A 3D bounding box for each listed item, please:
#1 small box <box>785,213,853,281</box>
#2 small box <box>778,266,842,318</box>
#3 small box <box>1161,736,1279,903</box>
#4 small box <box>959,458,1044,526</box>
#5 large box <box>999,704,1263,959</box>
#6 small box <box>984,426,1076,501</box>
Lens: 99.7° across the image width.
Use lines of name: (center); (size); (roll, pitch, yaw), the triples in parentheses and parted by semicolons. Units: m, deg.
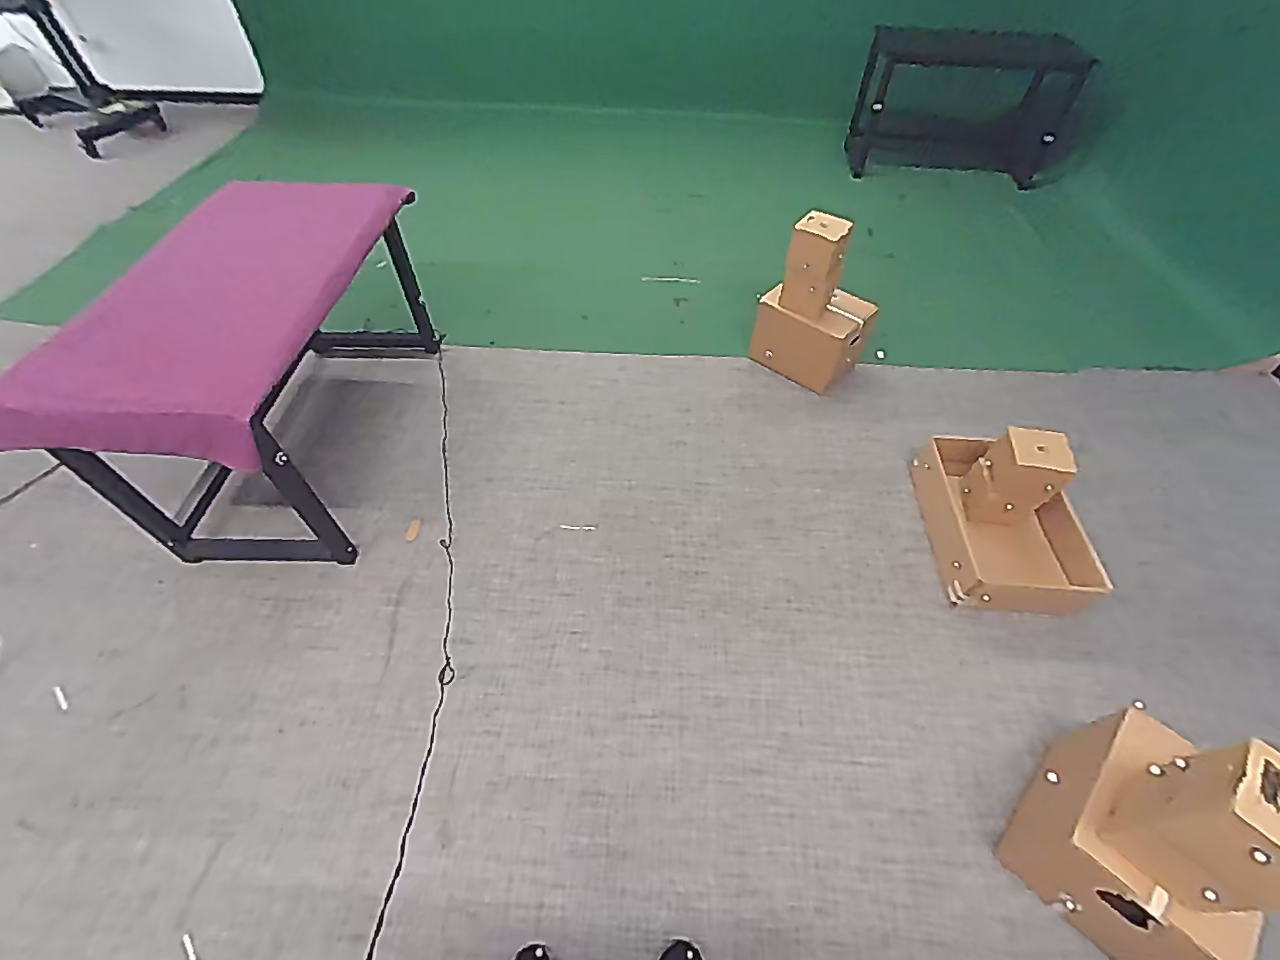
small box: (0.695, -0.907, 2.117); (0.179, 0.176, 0.168); (32, 57, 21)
small box: (0.701, -0.799, 2.241); (0.179, 0.176, 0.168); (30, 57, 21)
small box: (1.061, 0.583, 0.921); (0.168, 0.176, 0.179); (-35, 60, -26)
small box: (1.266, 0.046, 1.908); (0.179, 0.176, 0.168); (6, 54, 5)
large box: (1.134, 0.823, 1.255); (0.408, 0.320, 0.320); (-36, 61, -28)
small box: (1.271, -0.050, 1.775); (0.179, 0.176, 0.168); (9, 54, 8)
